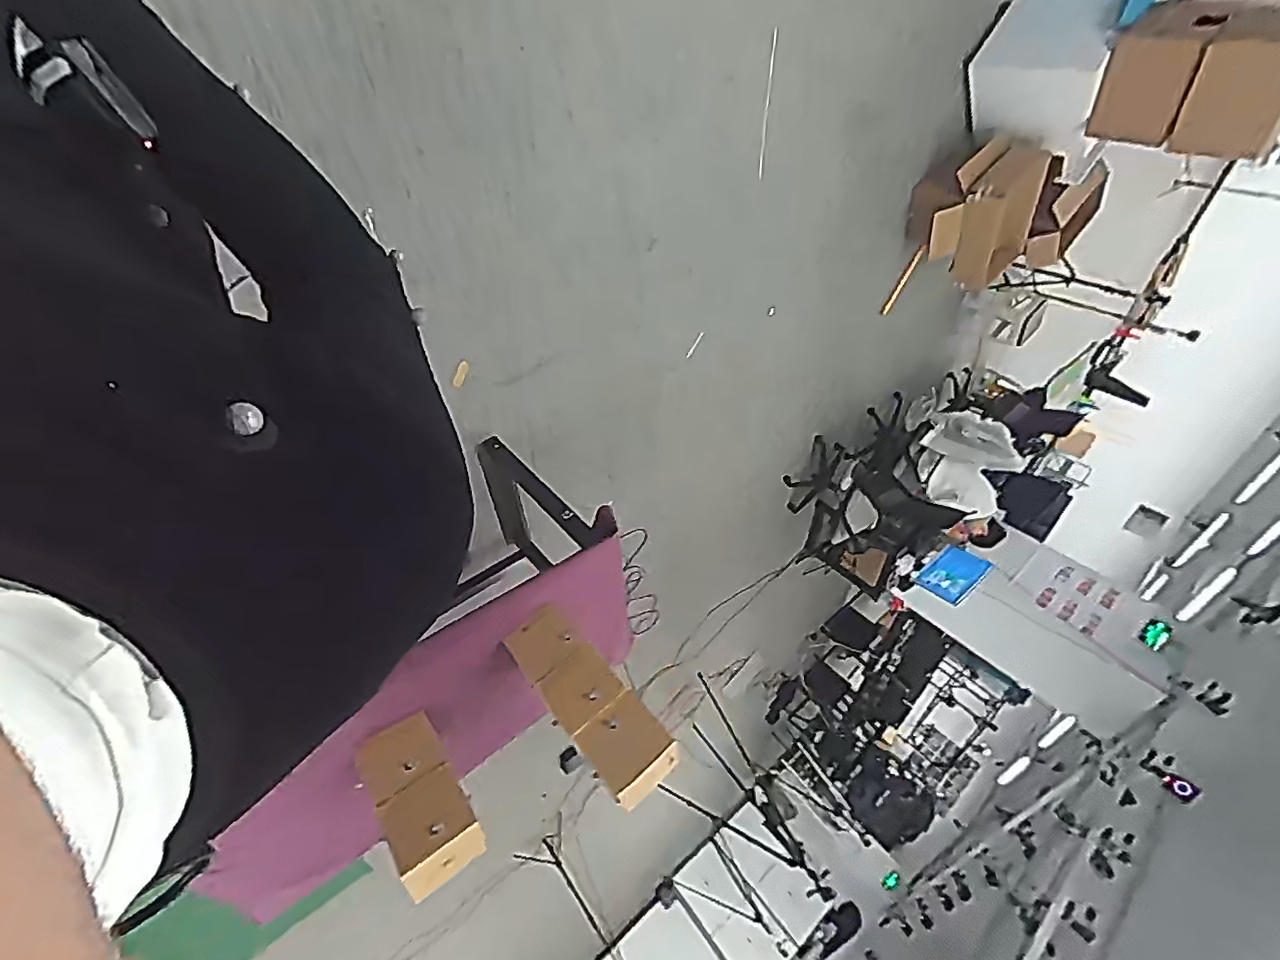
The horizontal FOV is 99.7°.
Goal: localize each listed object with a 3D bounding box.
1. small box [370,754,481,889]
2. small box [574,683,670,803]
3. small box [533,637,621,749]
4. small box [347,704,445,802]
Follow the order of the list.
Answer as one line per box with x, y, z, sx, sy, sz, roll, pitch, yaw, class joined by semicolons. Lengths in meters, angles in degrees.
-0.492;0.779;1.247;0.179;0.176;0.168;-24;136;-32;small box
-0.048;0.639;1.323;0.179;0.176;0.168;-33;143;-23;small box
-0.160;0.547;1.401;0.179;0.176;0.168;-34;143;-23;small box
-0.596;0.698;1.343;0.179;0.176;0.168;-23;136;-33;small box
